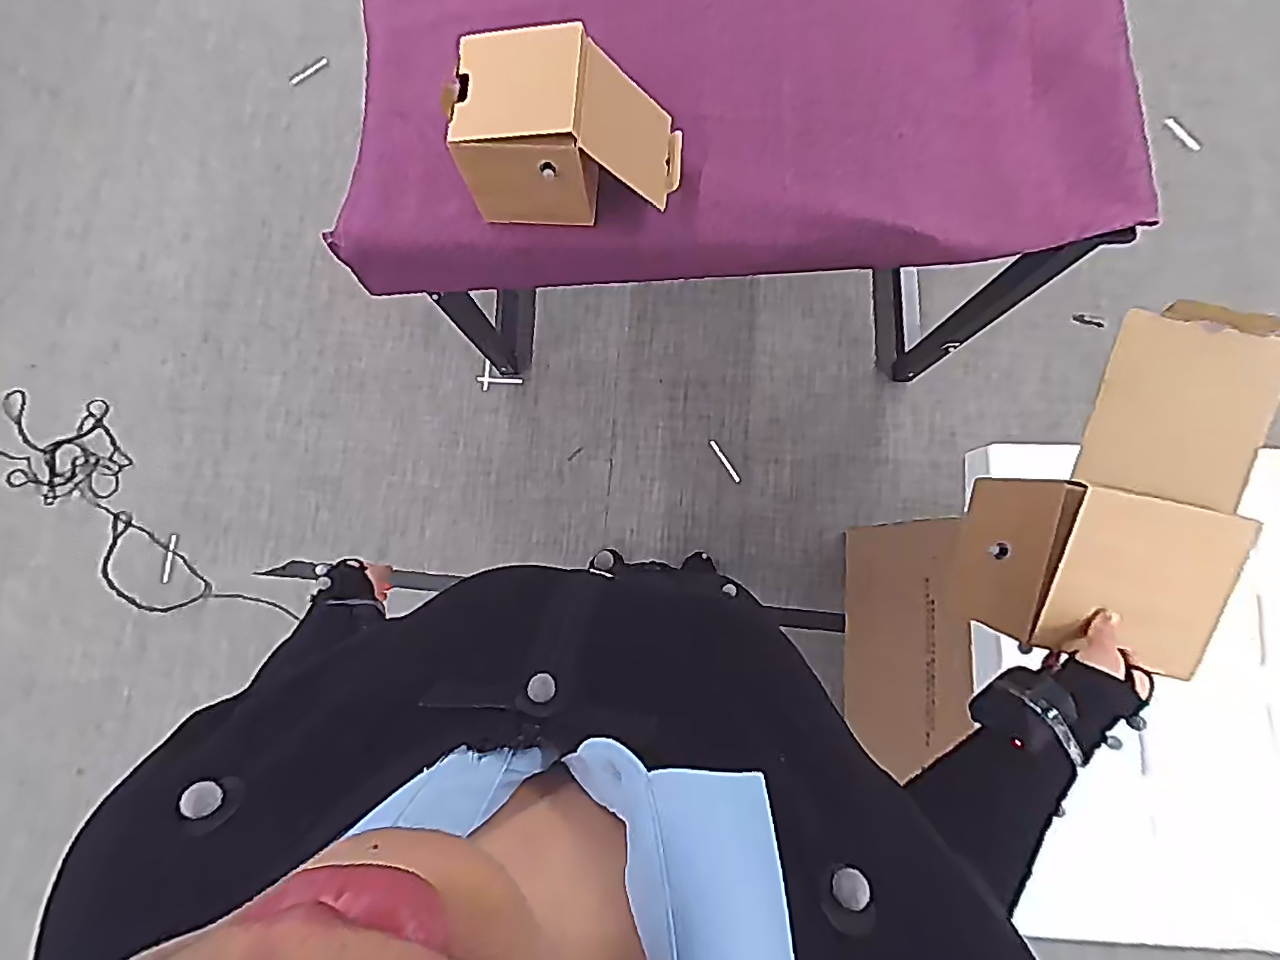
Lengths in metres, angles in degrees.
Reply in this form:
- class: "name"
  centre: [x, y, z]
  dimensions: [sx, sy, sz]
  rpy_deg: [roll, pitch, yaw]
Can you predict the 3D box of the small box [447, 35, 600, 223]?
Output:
- class: "small box"
  centre: [-0.157, -0.502, 0.794]
  dimensions: [0.179, 0.176, 0.168]
  rpy_deg: [4, 80, 4]
